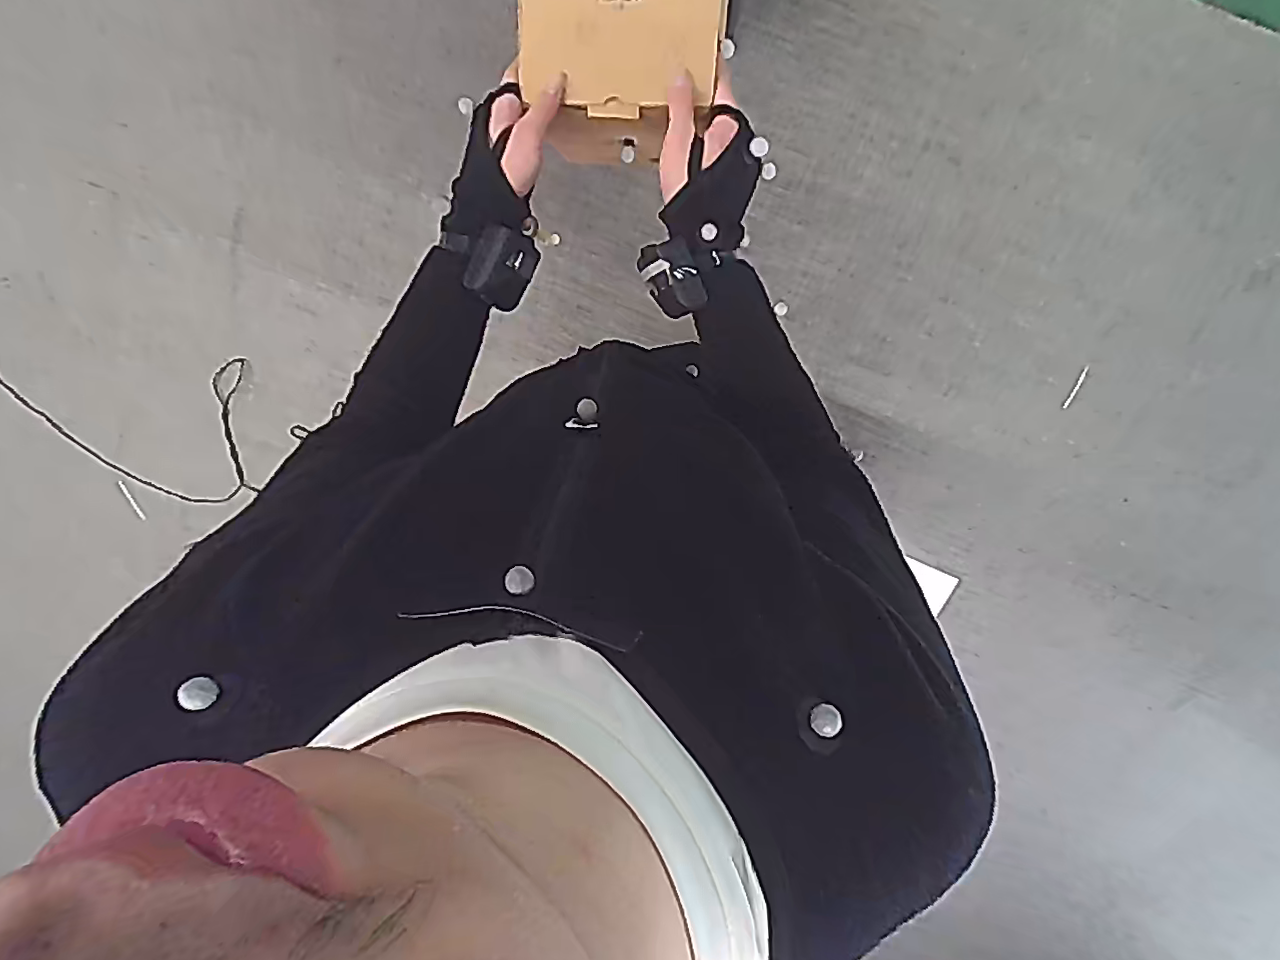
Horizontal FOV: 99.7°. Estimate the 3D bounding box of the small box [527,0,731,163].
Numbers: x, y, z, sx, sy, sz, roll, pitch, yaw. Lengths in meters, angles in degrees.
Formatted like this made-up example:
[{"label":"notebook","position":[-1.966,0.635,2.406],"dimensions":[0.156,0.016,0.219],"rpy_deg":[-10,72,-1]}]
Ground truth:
[{"label":"small box","position":[-0.001,-0.415,0.511],"dimensions":[0.168,0.176,0.179],"rpy_deg":[3,106,7]}]
